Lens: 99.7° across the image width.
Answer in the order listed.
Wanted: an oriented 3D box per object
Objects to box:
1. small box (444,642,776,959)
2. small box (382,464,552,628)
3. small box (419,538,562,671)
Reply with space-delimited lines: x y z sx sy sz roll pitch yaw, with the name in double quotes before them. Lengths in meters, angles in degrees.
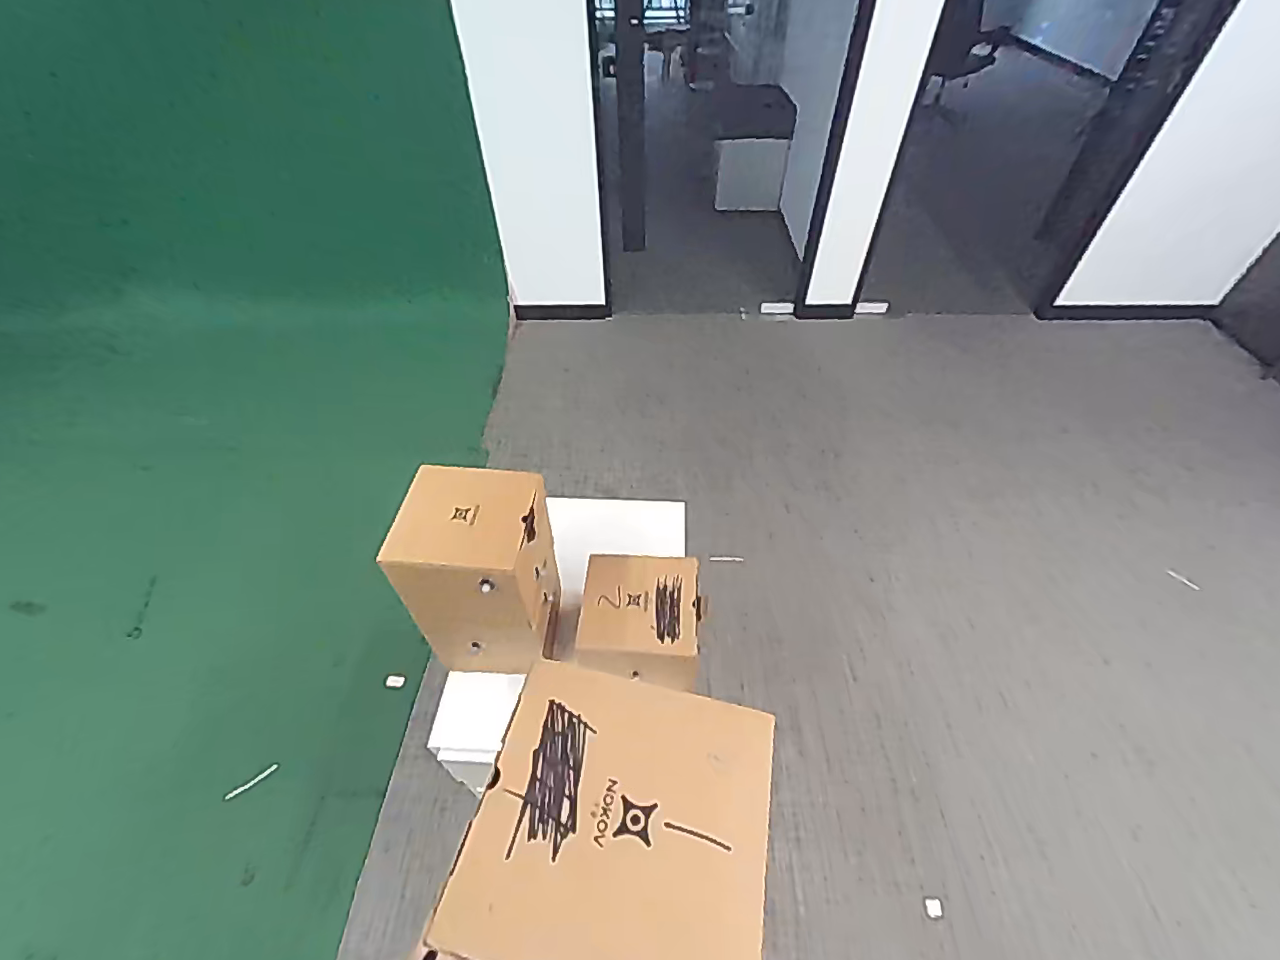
"small box" -0.010 0.248 0.395 0.179 0.176 0.168 12 46 7
"small box" -0.232 0.098 0.779 0.179 0.176 0.168 5 47 1
"small box" -0.235 0.206 0.901 0.179 0.176 0.168 2 48 1
